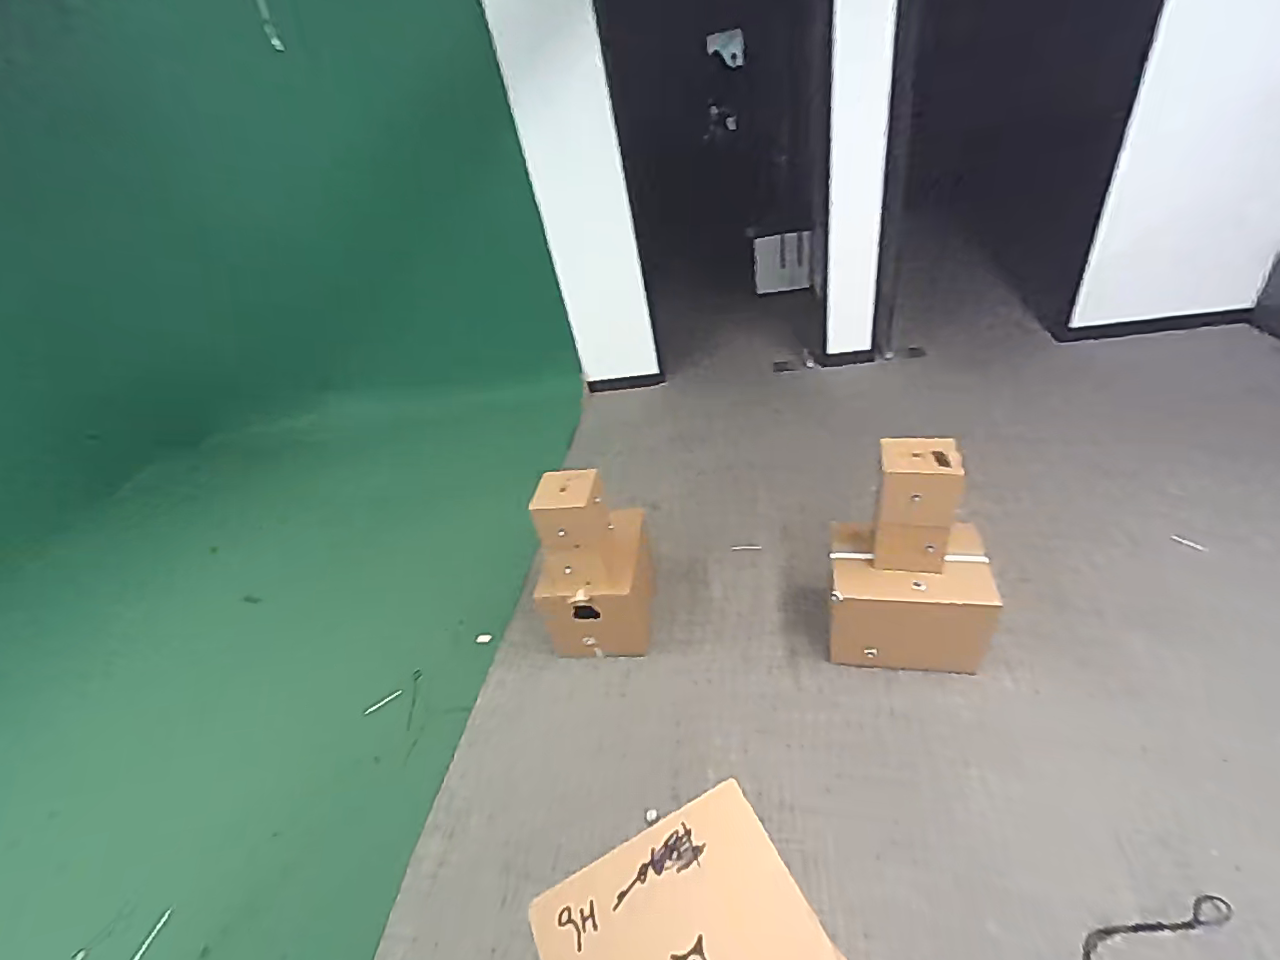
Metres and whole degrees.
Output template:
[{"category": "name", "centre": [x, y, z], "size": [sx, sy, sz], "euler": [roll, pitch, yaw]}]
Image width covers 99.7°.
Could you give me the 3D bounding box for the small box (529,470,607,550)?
[{"category": "small box", "centre": [-0.201, 0.091, 1.576], "size": [0.168, 0.176, 0.179], "euler": [-3, 36, 13]}]

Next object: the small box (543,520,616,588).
[{"category": "small box", "centre": [-0.178, 0.221, 1.676], "size": [0.168, 0.176, 0.179], "euler": [-3, 36, 13]}]

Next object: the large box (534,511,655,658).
[{"category": "large box", "centre": [-0.135, 0.361, 1.890], "size": [0.320, 0.320, 0.408], "euler": [-5, 36, 11]}]

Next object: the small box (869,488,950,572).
[{"category": "small box", "centre": [0.741, 0.137, 1.504], "size": [0.179, 0.176, 0.168], "euler": [1, 36, 19]}]

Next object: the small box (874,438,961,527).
[{"category": "small box", "centre": [0.714, 0.007, 1.408], "size": [0.179, 0.176, 0.168], "euler": [2, 36, 20]}]
